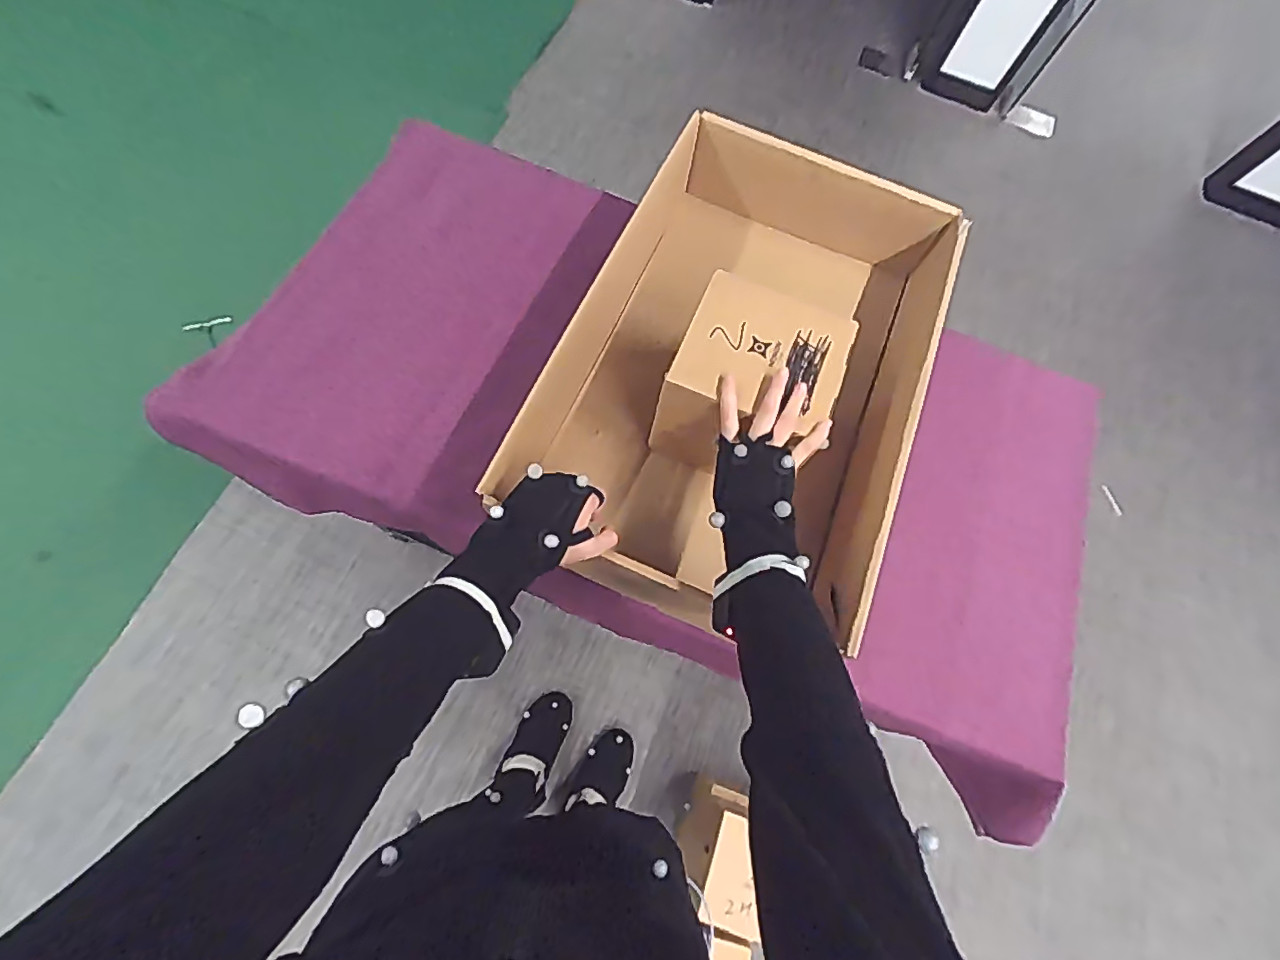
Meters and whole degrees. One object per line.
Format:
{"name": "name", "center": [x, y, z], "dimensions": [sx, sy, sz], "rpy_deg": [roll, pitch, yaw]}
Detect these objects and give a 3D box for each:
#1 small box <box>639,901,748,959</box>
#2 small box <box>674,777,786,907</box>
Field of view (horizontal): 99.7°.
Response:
{"name": "small box", "center": [0.096, 0.992, 1.093], "dimensions": [0.179, 0.176, 0.168], "rpy_deg": [18, 69, 0]}
{"name": "small box", "center": [0.189, 0.775, 1.180], "dimensions": [0.179, 0.176, 0.168], "rpy_deg": [22, 70, 3]}
